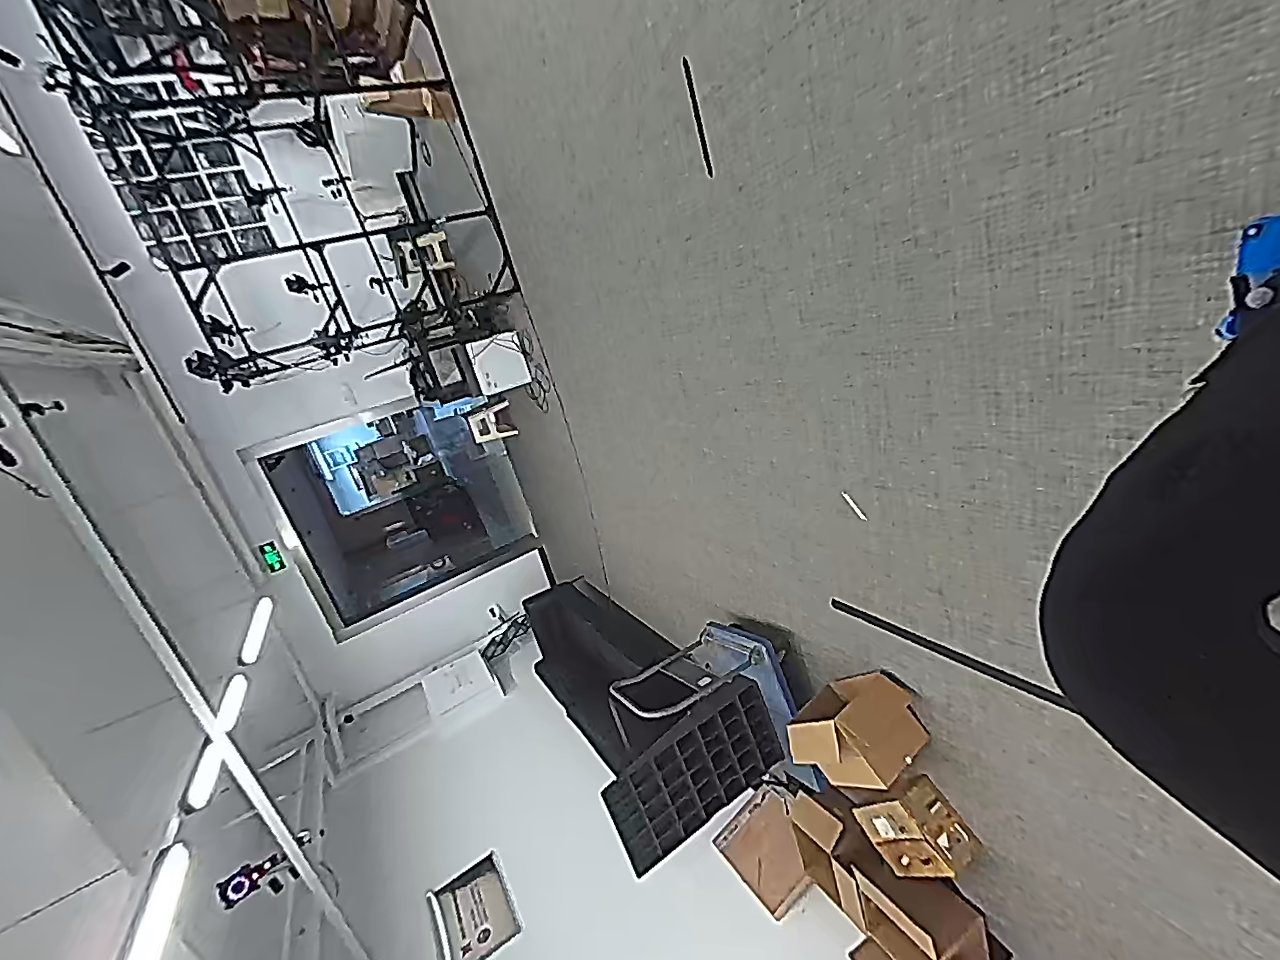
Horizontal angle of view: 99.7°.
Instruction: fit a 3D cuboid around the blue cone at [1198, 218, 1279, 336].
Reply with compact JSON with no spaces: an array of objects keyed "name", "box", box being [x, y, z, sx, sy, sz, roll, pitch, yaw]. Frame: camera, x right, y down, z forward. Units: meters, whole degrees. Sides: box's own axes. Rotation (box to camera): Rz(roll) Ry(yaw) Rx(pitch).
[{"name":"blue cone","box":[1.004,-0.295,0.855,0.192,0.380,0.193,25,133,58]}]
